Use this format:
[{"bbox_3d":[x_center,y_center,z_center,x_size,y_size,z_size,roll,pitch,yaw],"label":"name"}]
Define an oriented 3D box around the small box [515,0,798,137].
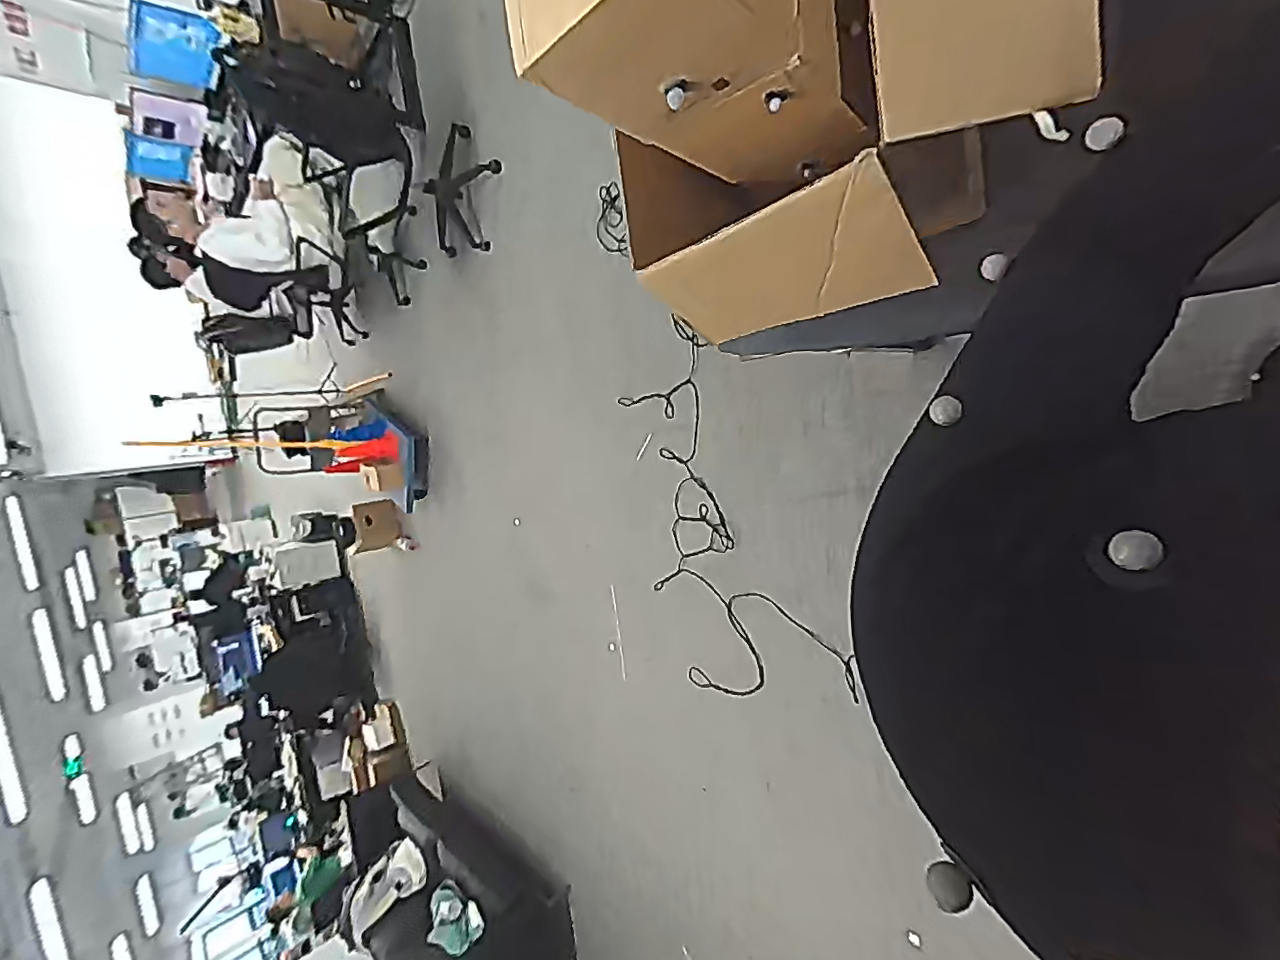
[{"bbox_3d":[0.013,-0.426,0.439,0.168,0.176,0.179,-3,96,42],"label":"small box"}]
